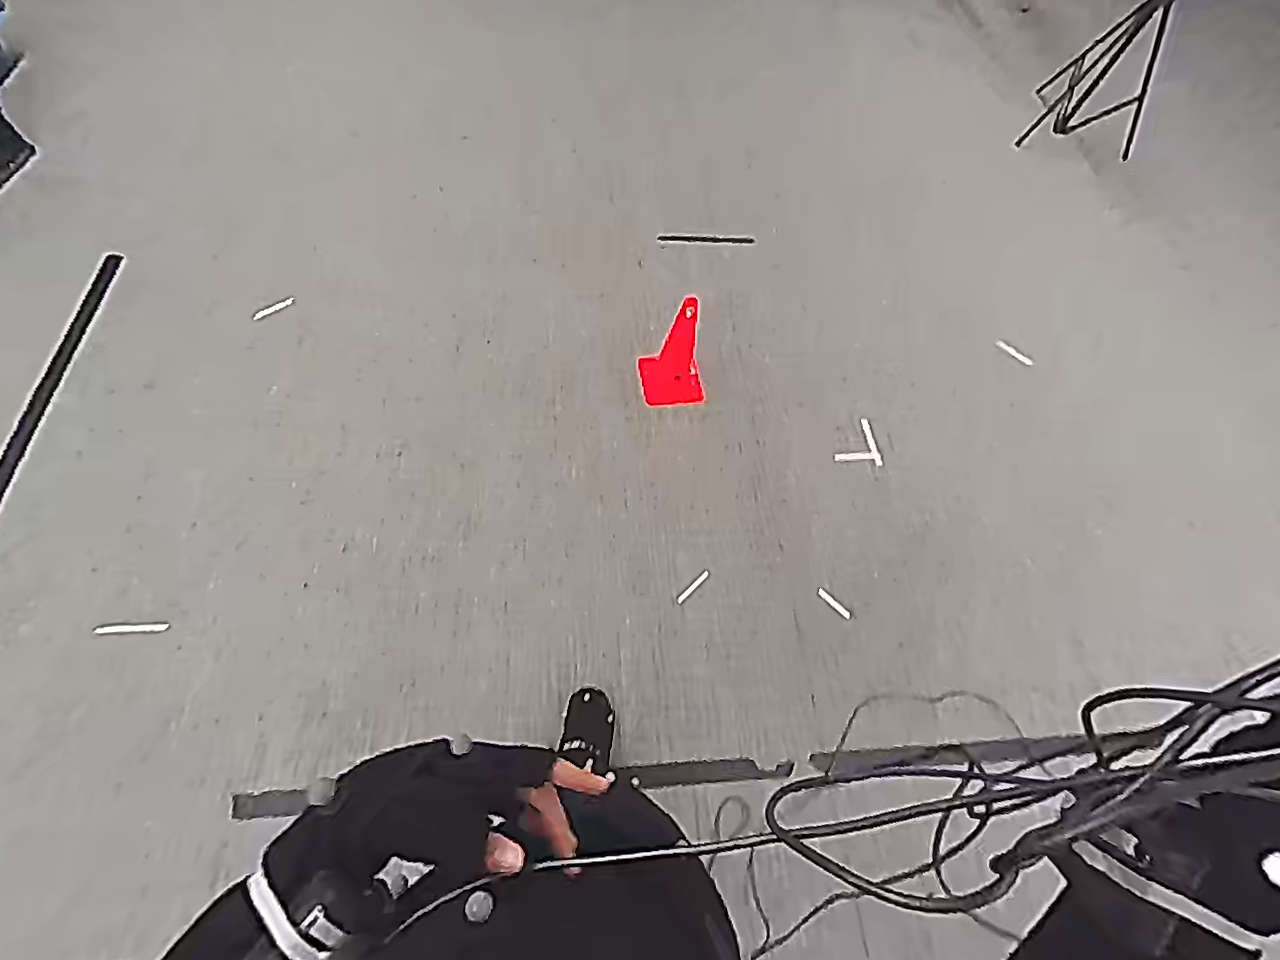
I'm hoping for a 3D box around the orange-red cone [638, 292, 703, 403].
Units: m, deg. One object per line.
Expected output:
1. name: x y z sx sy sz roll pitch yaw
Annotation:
1. orange-red cone: 0.115 -0.414 1.620 0.199 0.360 0.198 -5 63 -8
